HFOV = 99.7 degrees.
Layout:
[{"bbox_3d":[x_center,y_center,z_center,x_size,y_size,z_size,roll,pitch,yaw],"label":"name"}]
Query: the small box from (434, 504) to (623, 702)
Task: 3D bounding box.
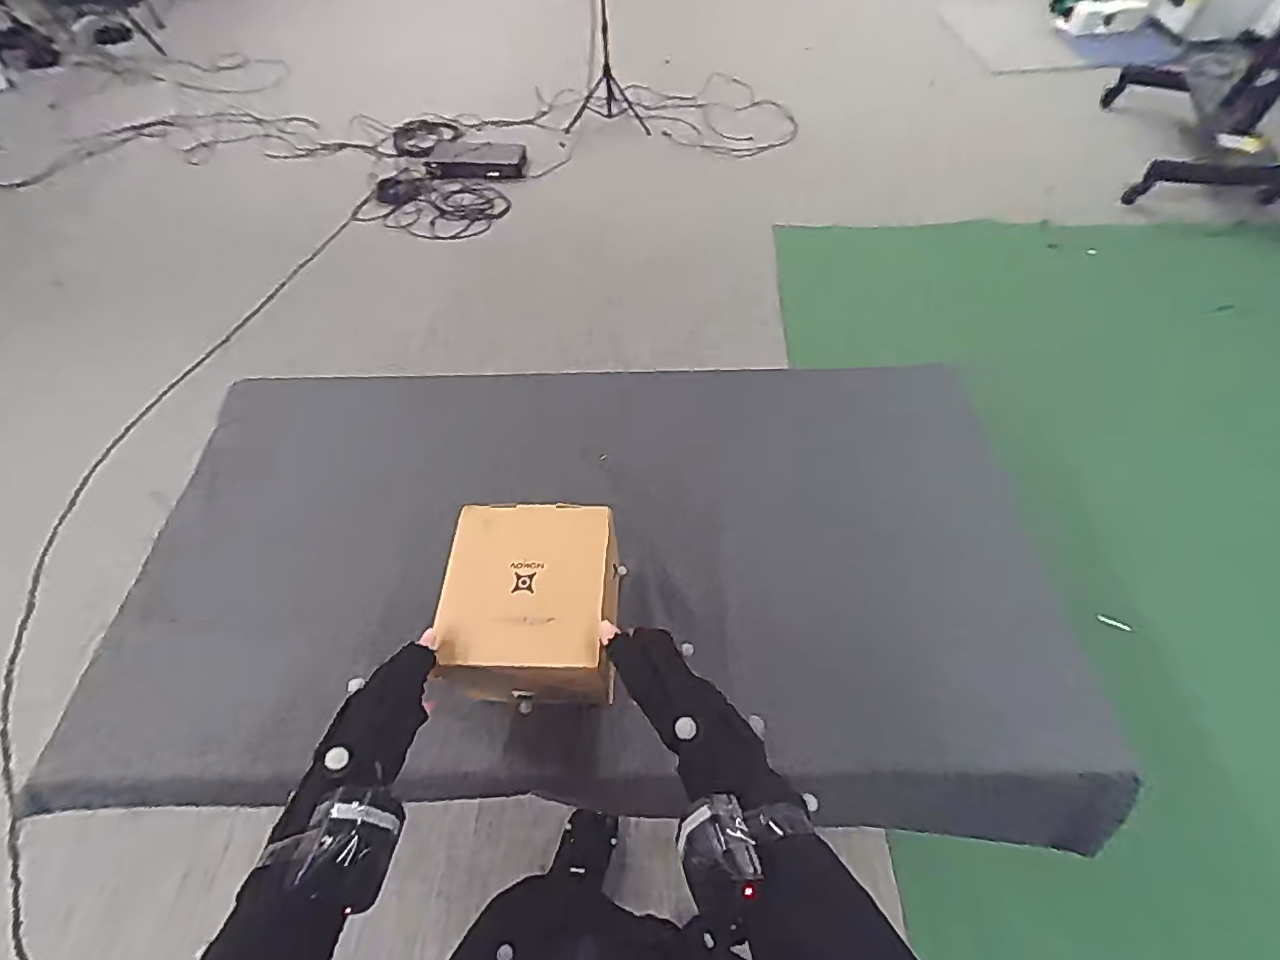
[{"bbox_3d":[-0.110,0.144,0.621,0.168,0.176,0.179,-1,57,3],"label":"small box"}]
